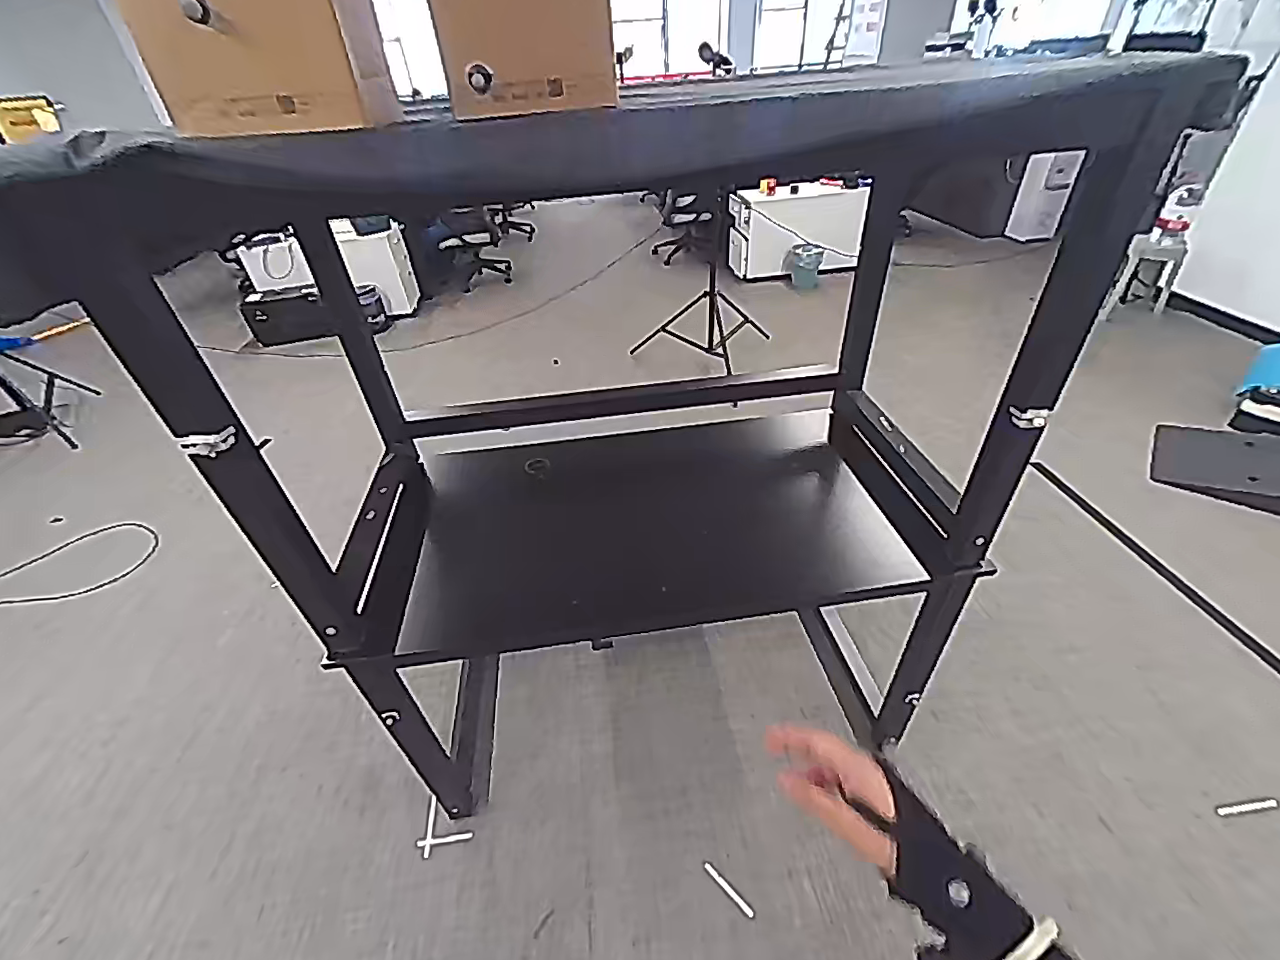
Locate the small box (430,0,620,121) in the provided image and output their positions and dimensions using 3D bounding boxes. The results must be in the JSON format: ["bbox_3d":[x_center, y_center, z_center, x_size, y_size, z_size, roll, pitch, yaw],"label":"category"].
[{"bbox_3d":[-0.113,-0.476,0.554,0.168,0.176,0.179,-6,36,-2],"label":"small box"}]

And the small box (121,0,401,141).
[{"bbox_3d":[-0.349,-0.429,0.518,0.168,0.176,0.179,-7,36,-5],"label":"small box"}]
